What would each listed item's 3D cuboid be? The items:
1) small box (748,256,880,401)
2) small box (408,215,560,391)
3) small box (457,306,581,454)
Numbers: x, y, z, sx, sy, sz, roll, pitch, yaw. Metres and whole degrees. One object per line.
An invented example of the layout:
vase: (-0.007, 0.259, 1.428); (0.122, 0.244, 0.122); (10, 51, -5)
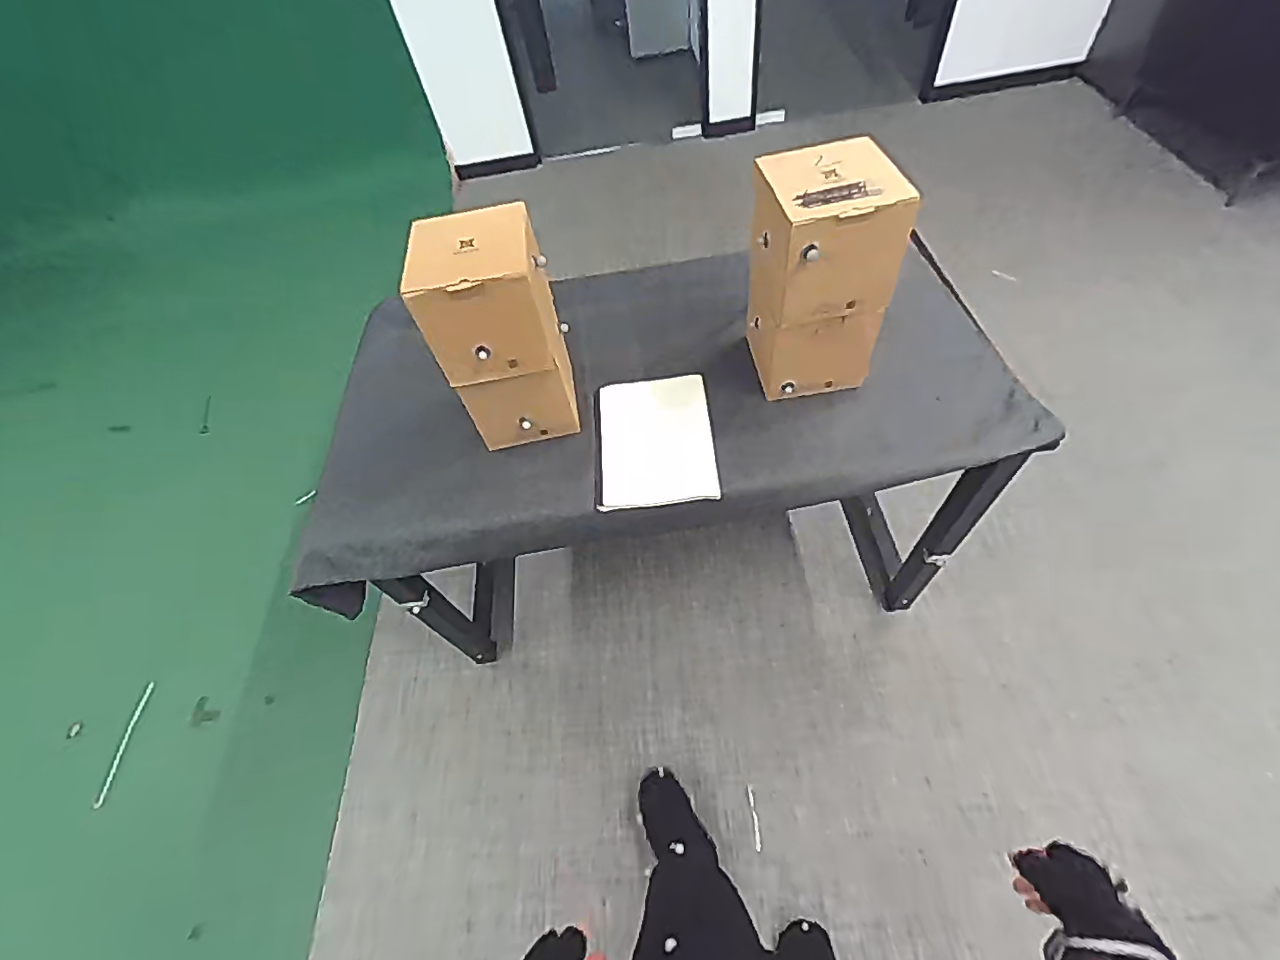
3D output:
small box: (0.286, -0.251, 0.929); (0.168, 0.176, 0.179); (-8, 53, 2)
small box: (-0.219, -0.259, 0.801); (0.168, 0.176, 0.179); (-10, 54, 0)
small box: (-0.204, -0.172, 0.938); (0.168, 0.176, 0.179); (-12, 54, 0)
